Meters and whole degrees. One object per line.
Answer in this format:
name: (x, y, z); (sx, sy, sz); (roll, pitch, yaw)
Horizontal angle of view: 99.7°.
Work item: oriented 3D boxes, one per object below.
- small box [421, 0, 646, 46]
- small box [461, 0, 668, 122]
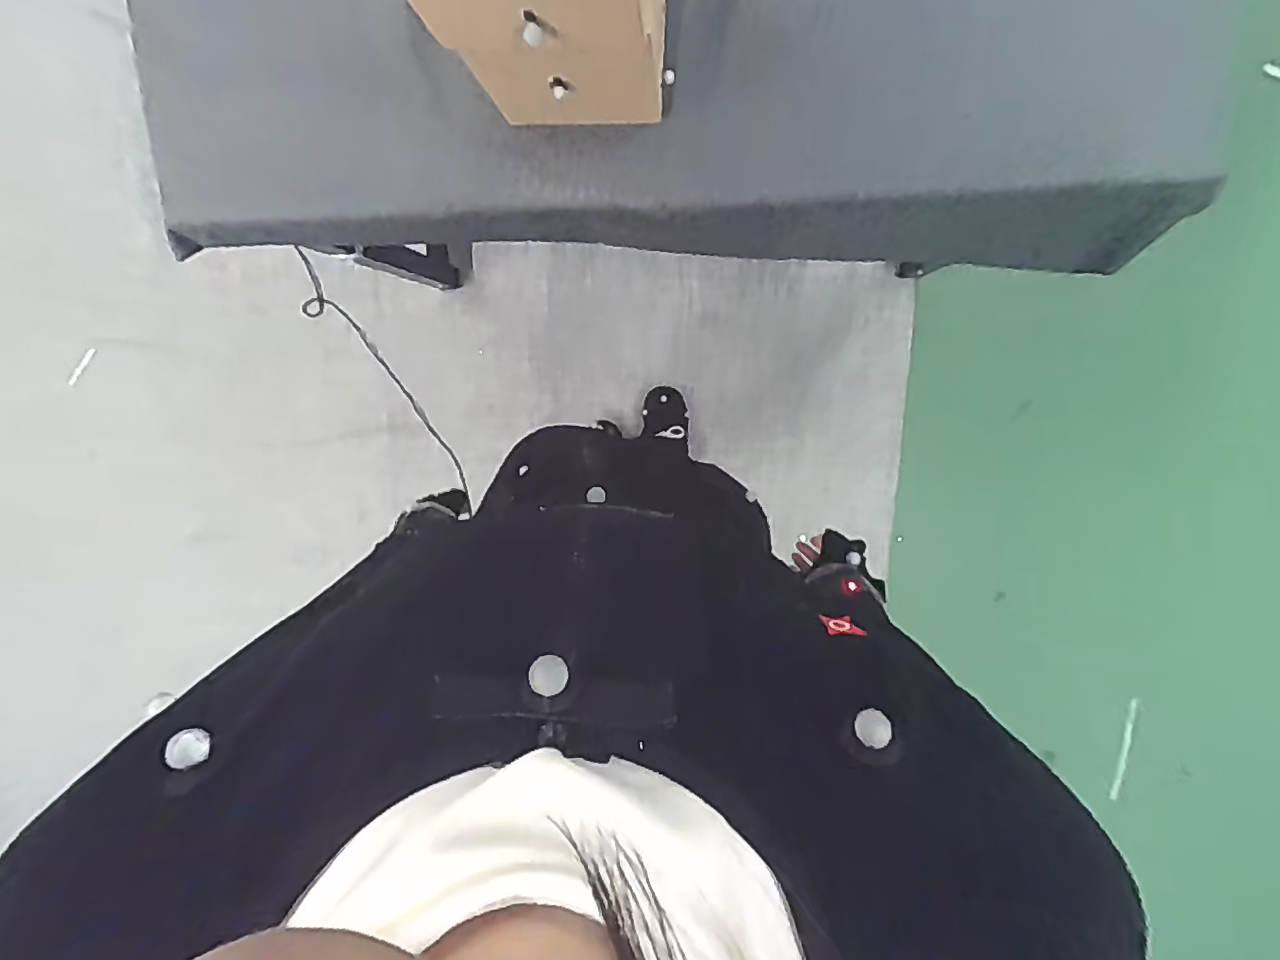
small box: (-0.081, -0.432, 0.363); (0.179, 0.176, 0.168); (3, 101, 4)
small box: (-0.063, -0.471, 0.521); (0.179, 0.176, 0.168); (3, 101, 6)
